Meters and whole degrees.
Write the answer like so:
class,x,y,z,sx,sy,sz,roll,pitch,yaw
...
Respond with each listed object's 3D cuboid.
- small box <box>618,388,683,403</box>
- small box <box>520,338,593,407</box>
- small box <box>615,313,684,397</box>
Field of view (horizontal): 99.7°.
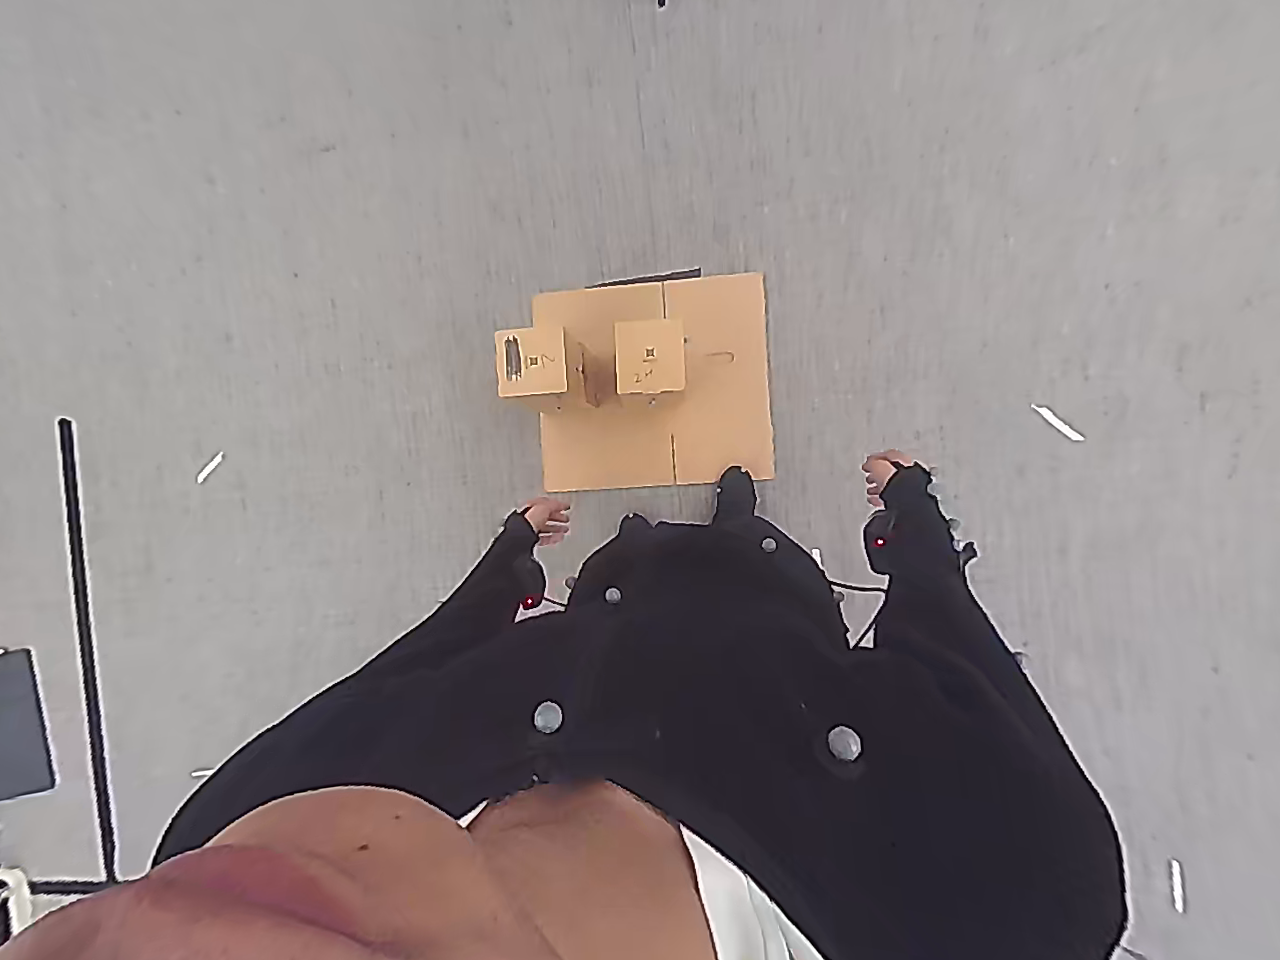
class,x,y,z,sx,sy,sz,roll,pitch,yaw
small box,0.032,-0.313,1.536,0.179,0.176,0.168,-2,92,5
small box,-0.233,-0.306,1.560,0.179,0.176,0.168,-4,91,7
small box,0.027,-0.311,1.371,0.168,0.176,0.179,-2,92,5
